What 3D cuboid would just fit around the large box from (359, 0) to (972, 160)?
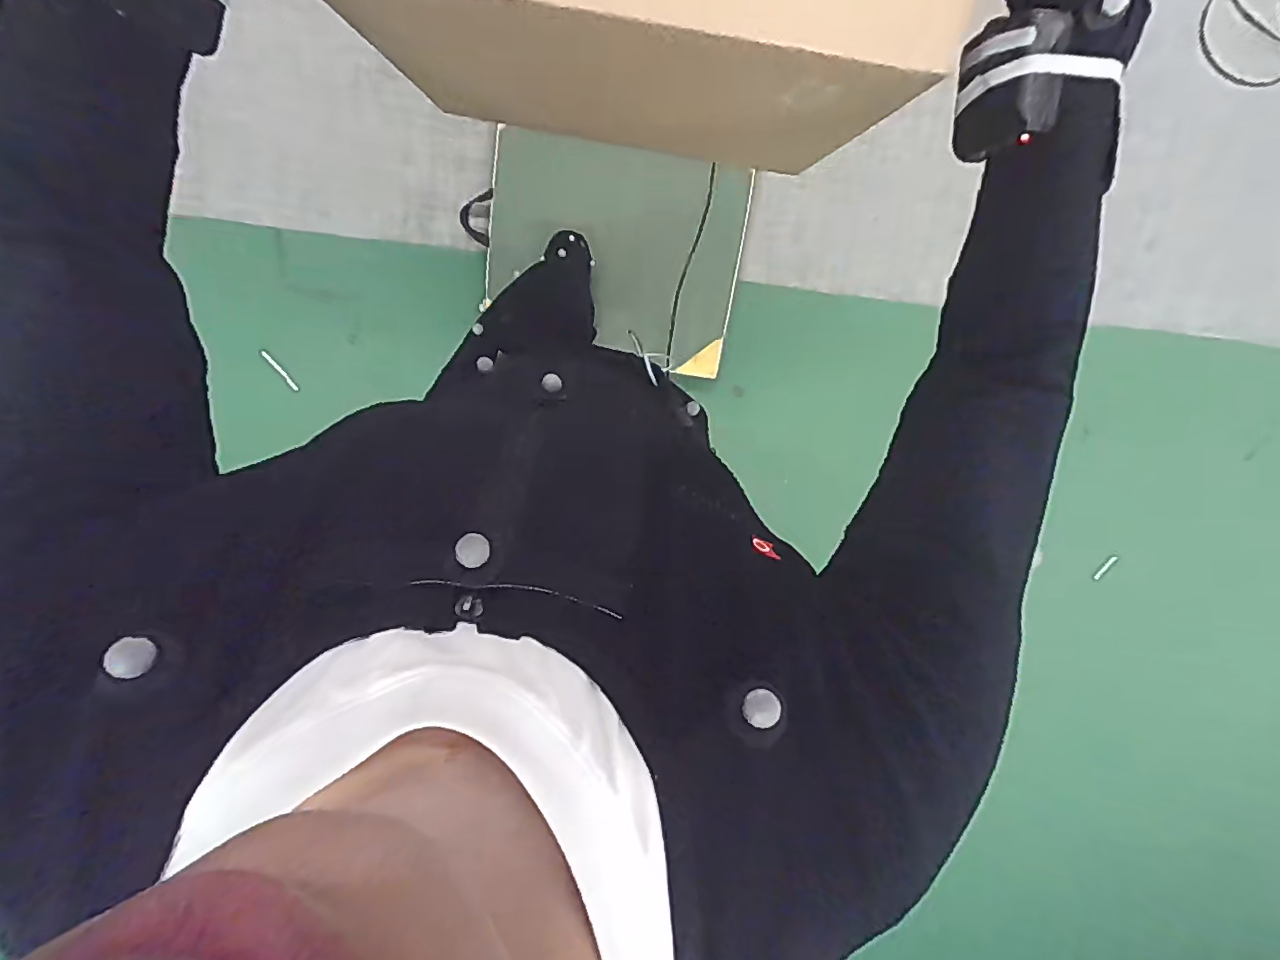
[{"bbox_3d":[0.012,-0.475,0.410,0.408,0.320,0.320,7,110,-5],"label":"large box"}]
